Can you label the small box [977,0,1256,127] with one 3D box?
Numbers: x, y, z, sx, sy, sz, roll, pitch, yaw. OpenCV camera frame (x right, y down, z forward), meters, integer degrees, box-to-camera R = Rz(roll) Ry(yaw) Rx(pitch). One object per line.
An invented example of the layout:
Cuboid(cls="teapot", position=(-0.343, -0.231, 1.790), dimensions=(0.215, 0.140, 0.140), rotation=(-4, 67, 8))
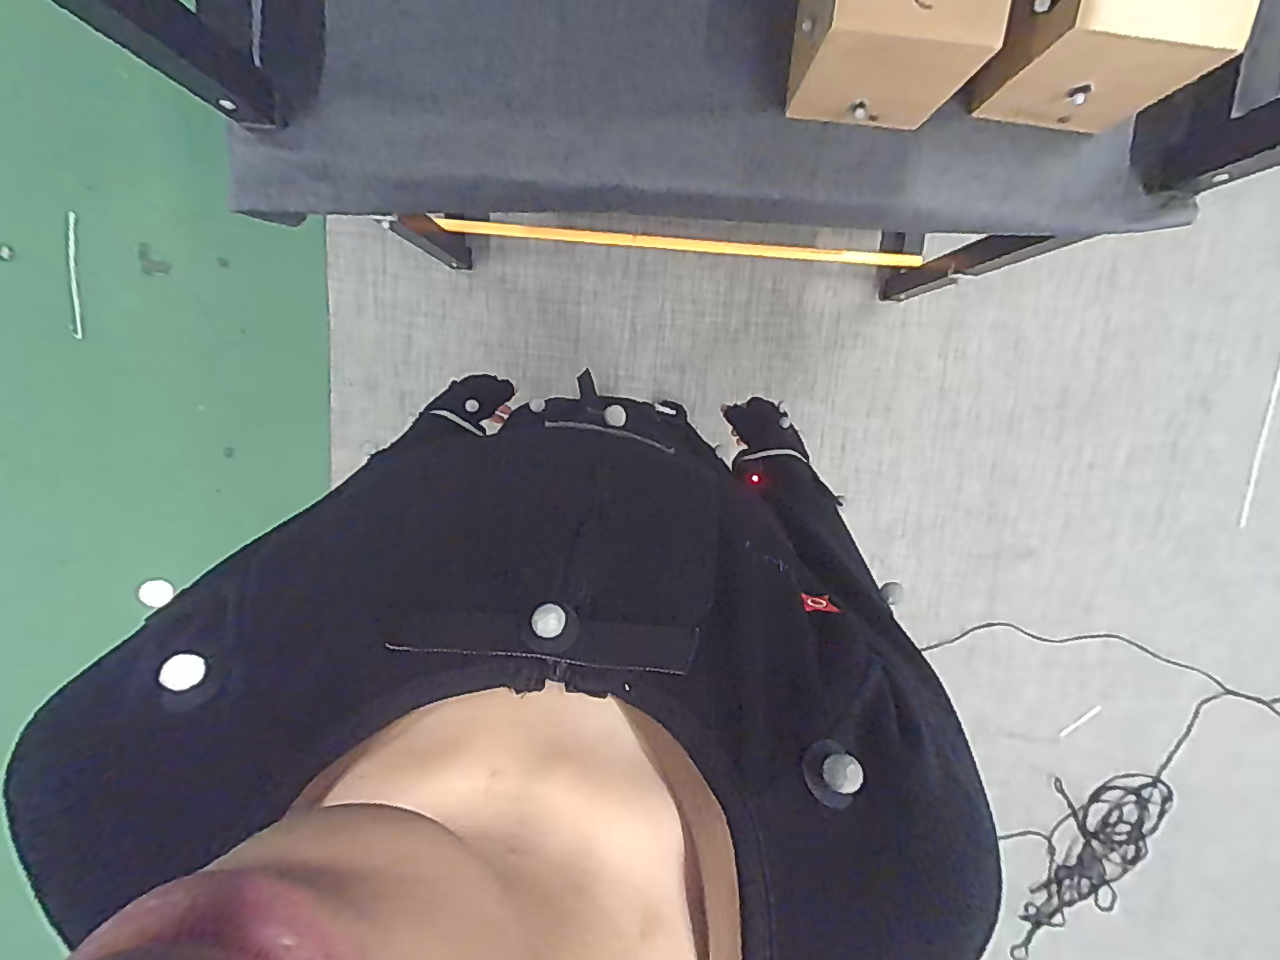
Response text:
Cuboid(cls="small box", position=(0.499, -0.513, 0.575), dimensions=(0.168, 0.176, 0.179), rotation=(7, 99, -1))
